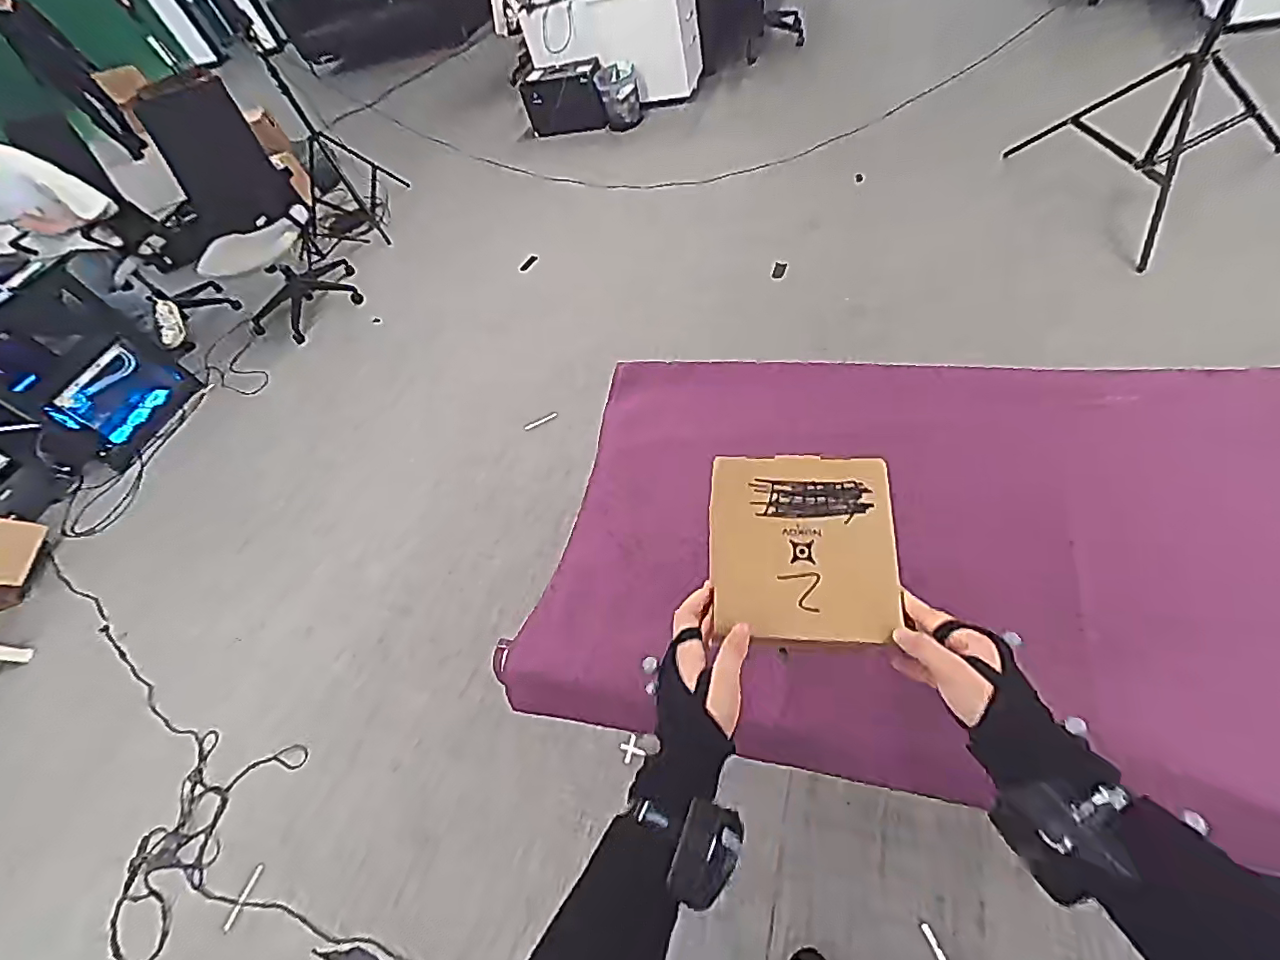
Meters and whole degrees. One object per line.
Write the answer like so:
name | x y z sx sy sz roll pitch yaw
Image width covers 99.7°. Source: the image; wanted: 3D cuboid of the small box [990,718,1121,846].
small box | 0.820 0.608 1.083 0.168 0.176 0.179 10 58 22

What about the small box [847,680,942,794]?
small box | 0.552 0.567 1.184 0.168 0.176 0.179 8 57 20
